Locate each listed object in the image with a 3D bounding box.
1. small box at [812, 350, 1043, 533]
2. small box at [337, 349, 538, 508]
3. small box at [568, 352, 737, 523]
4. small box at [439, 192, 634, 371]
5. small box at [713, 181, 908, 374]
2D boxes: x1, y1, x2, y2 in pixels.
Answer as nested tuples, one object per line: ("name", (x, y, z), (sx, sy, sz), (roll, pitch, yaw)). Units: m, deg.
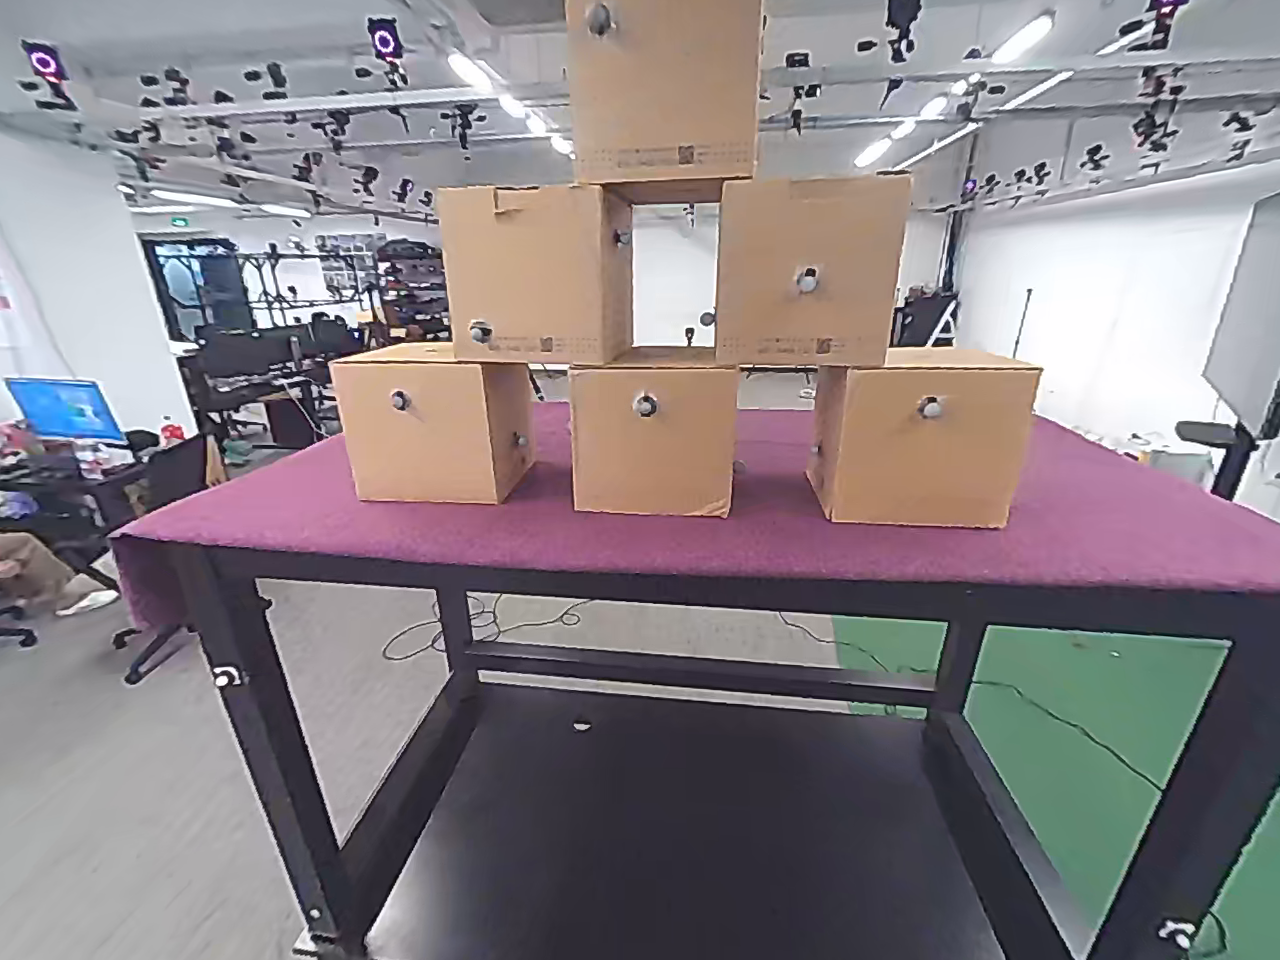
("small box", (0.300, -0.049, 0.610), (0.179, 0.176, 0.168), (1, 20, 8))
("small box", (-0.241, -0.071, 0.688), (0.179, 0.176, 0.168), (1, 22, 6))
("small box", (0.024, -0.057, 0.644), (0.179, 0.176, 0.168), (2, 21, 8))
("small box", (-0.100, -0.220, 0.616), (0.168, 0.176, 0.179), (4, 21, 9))
("small box", (0.166, -0.210, 0.580), (0.168, 0.176, 0.179), (2, 21, 7))
